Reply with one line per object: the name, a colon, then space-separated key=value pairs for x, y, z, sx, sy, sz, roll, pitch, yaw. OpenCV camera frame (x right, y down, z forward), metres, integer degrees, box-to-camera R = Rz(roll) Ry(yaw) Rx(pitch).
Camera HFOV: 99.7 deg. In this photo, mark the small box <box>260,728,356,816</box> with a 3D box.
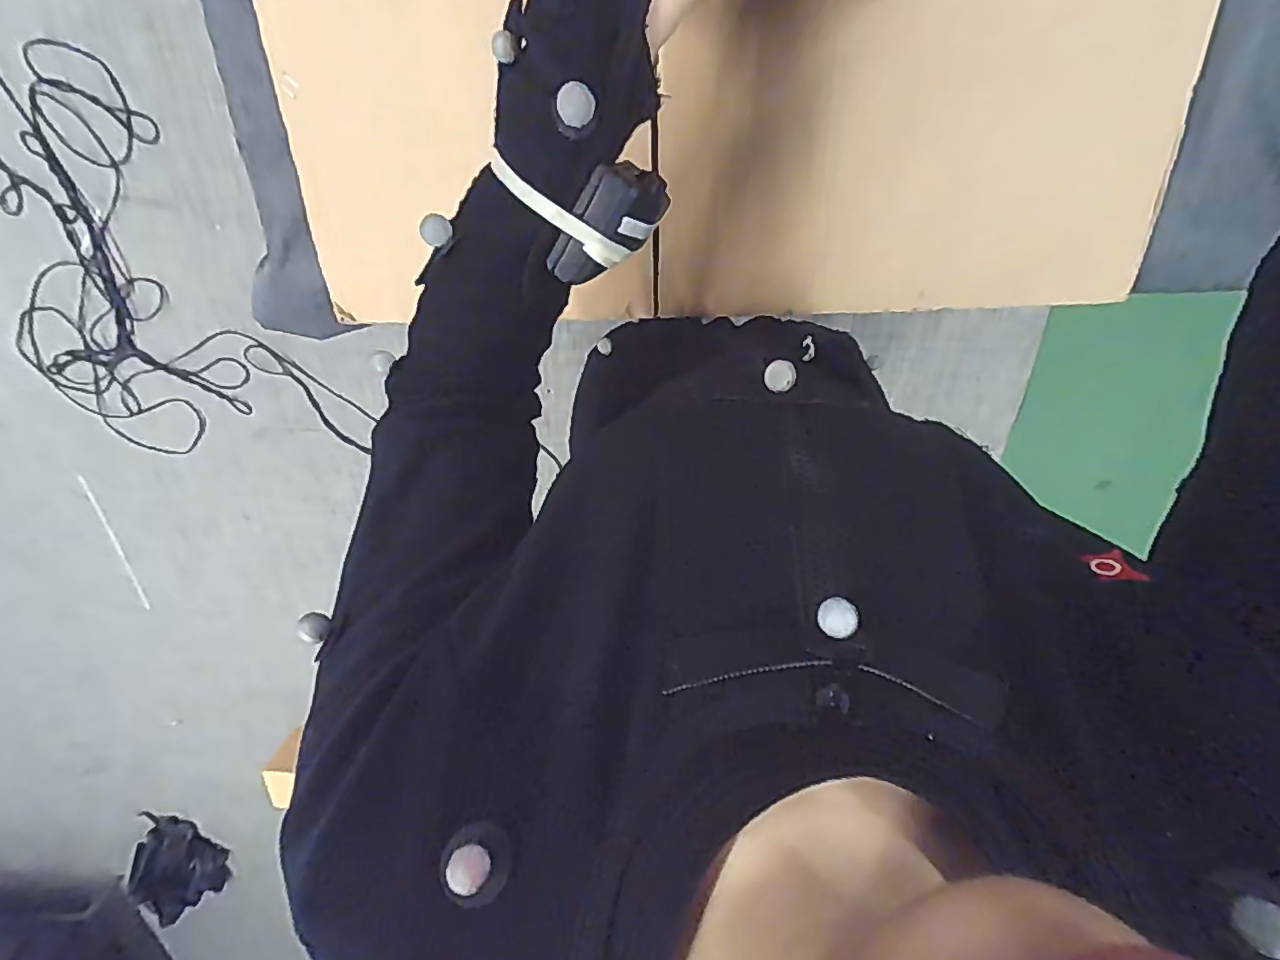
small box: x=-1.003 y=0.883 z=1.647 sx=0.179 sy=0.176 sz=0.168 roll=4 pitch=115 yaw=1
